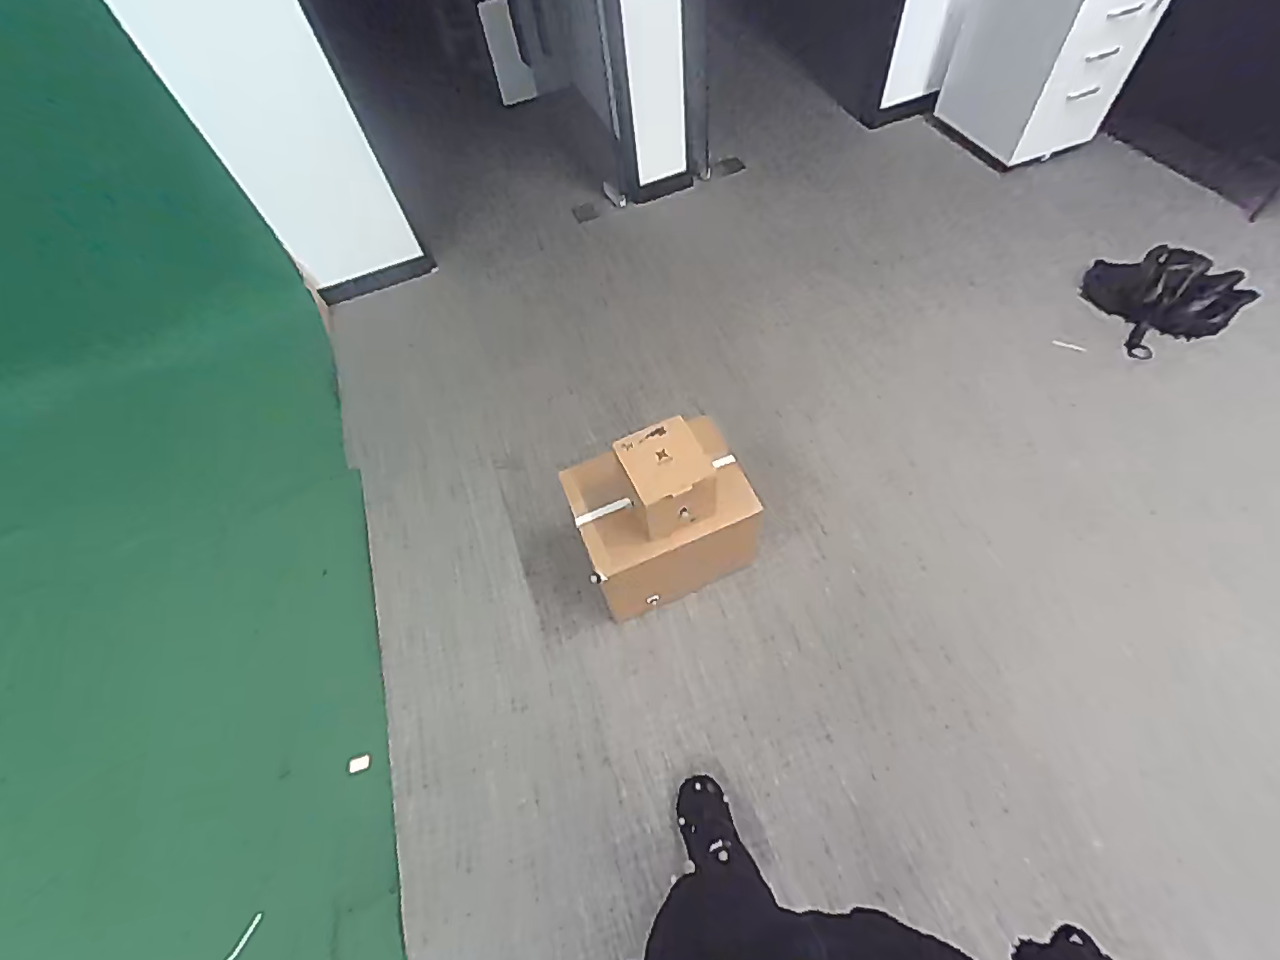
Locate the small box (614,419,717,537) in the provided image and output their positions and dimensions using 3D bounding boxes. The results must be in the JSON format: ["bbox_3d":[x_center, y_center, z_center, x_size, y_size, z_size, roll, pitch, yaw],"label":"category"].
[{"bbox_3d":[0.059,0.005,1.184,0.168,0.176,0.179,-23,59,-7],"label":"small box"}]
